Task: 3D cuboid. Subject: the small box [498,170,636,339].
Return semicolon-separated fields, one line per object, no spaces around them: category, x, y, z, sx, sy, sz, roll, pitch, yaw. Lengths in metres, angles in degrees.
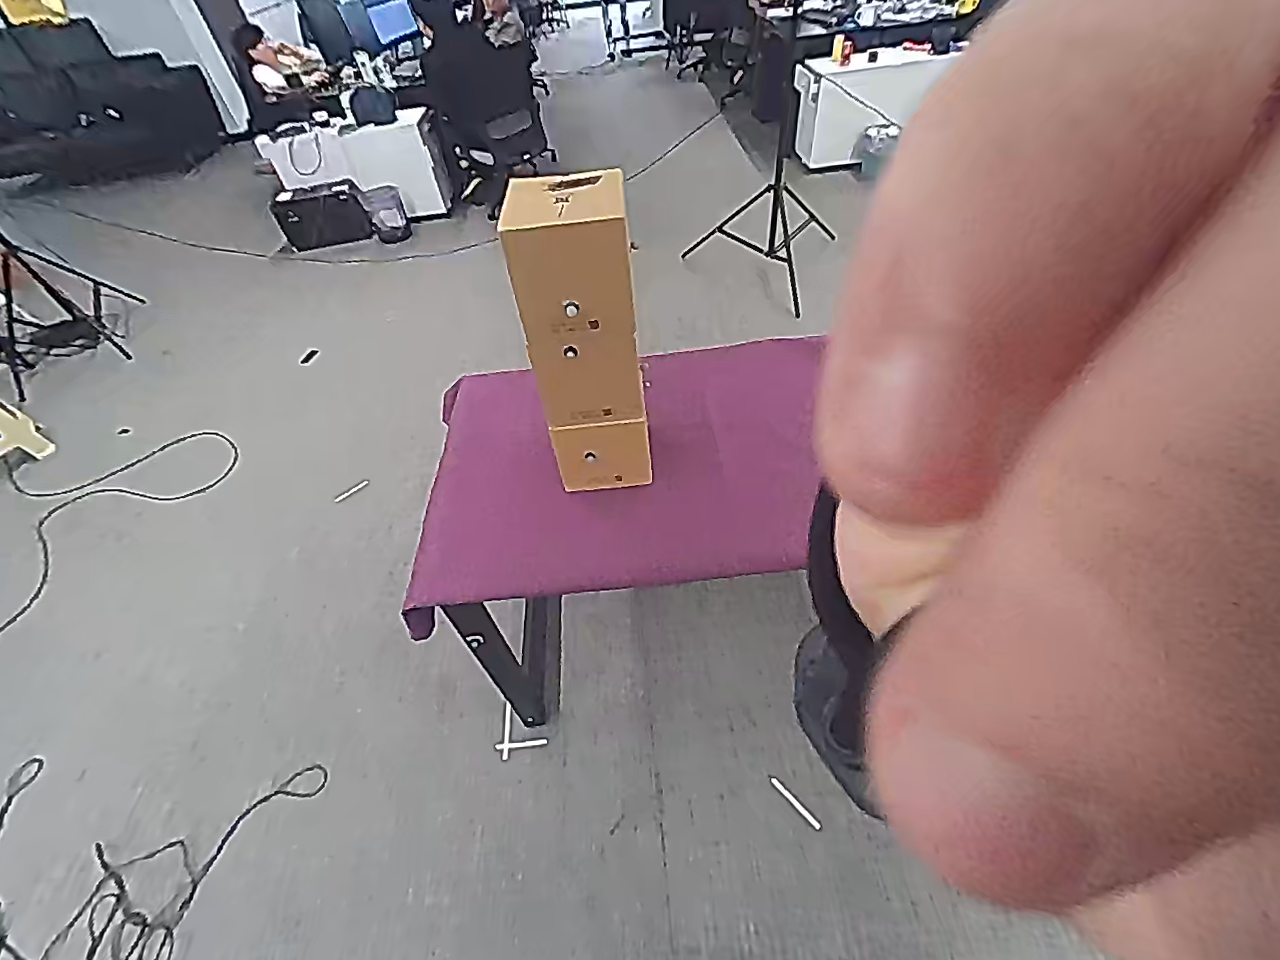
small box;-0.096;-0.328;0.791;0.168;0.176;0.179;-6;48;2

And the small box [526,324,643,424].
small box;-0.086;-0.218;0.913;0.168;0.176;0.179;-6;46;1

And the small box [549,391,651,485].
small box;-0.071;-0.103;1.030;0.168;0.176;0.179;-6;47;2
